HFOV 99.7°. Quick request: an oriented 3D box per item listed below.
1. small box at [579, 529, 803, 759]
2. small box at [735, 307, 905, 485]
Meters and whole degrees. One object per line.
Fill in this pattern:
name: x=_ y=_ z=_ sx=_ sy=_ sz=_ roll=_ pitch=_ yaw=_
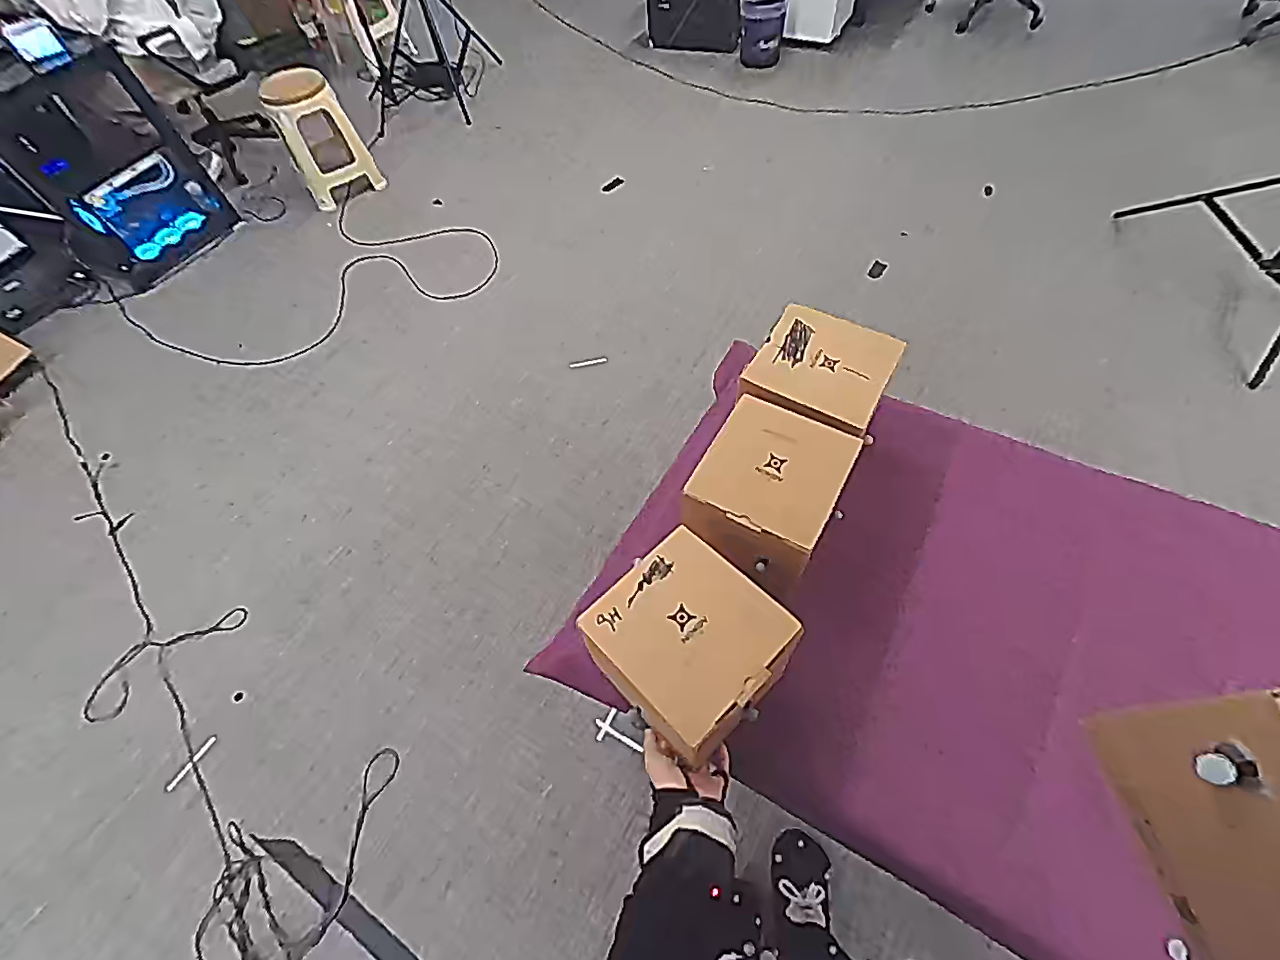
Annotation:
small box: x=0.056 y=0.196 z=0.627 sx=0.168 sy=0.176 sz=0.179 roll=-39 pitch=62 yaw=-20
small box: x=0.255 y=-0.119 z=0.806 sx=0.179 sy=0.176 sz=0.168 roll=27 pitch=66 yaw=18
